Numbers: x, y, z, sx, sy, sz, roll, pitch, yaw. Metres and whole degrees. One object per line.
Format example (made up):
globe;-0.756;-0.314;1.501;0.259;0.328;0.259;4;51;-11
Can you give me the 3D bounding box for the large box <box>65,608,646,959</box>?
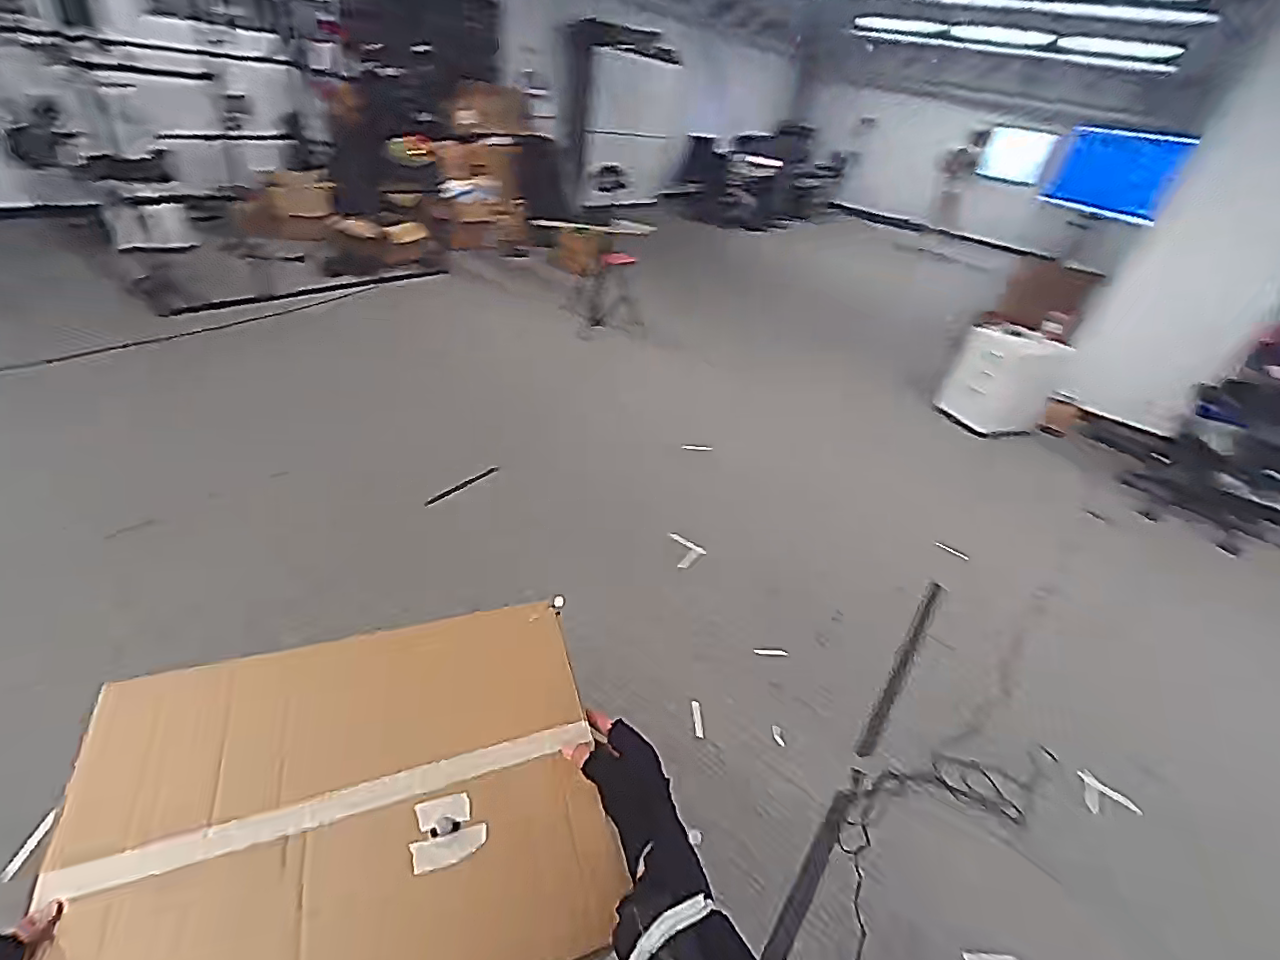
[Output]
large box;-0.252;0.382;0.570;0.408;0.320;0.320;-6;47;-20
